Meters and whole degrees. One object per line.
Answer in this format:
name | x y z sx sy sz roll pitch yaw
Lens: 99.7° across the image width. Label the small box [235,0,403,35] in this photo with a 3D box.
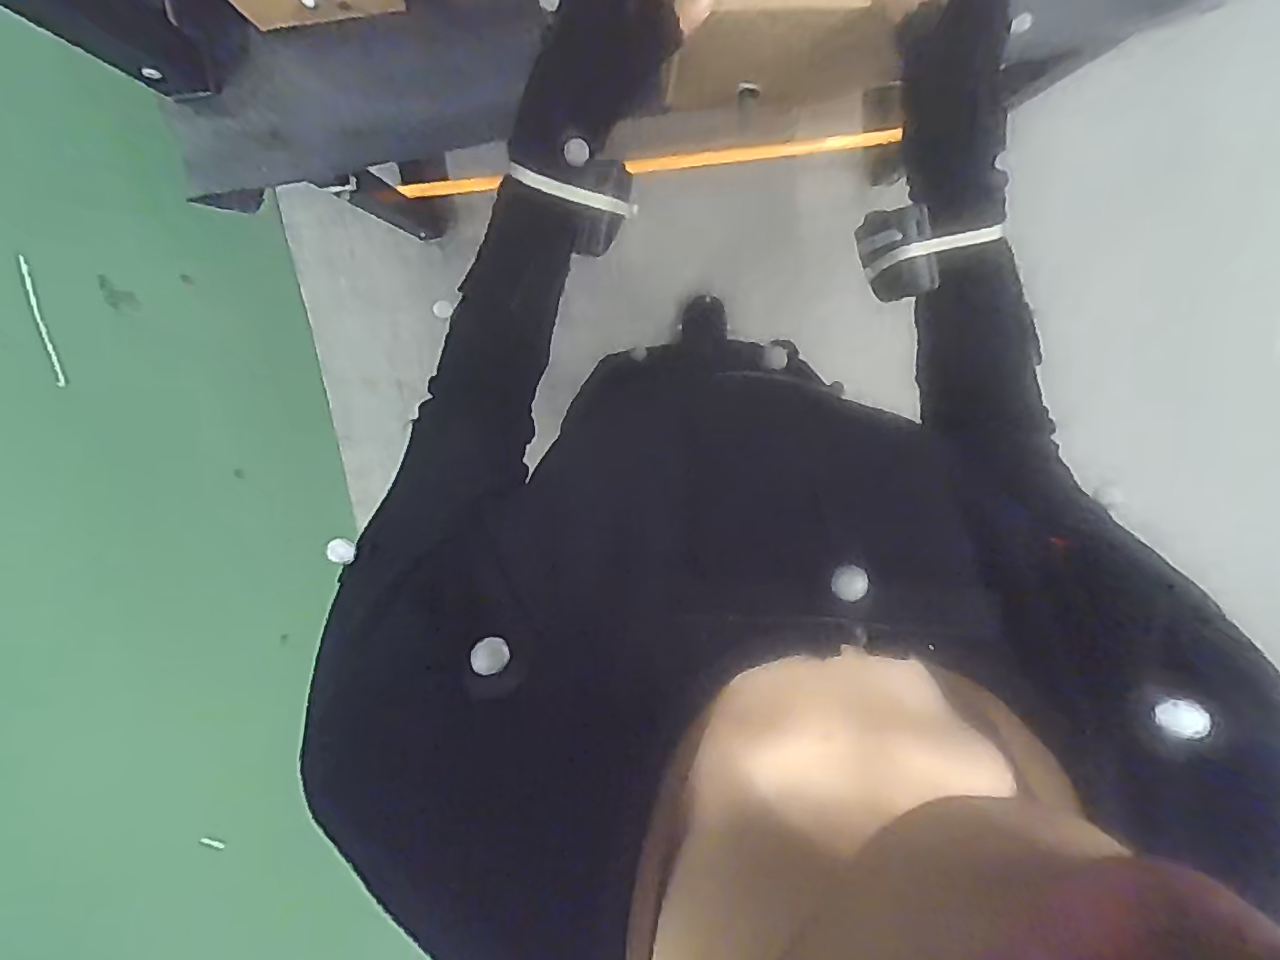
small box | -0.348 -0.570 0.504 0.168 0.176 0.179 -8 103 0
